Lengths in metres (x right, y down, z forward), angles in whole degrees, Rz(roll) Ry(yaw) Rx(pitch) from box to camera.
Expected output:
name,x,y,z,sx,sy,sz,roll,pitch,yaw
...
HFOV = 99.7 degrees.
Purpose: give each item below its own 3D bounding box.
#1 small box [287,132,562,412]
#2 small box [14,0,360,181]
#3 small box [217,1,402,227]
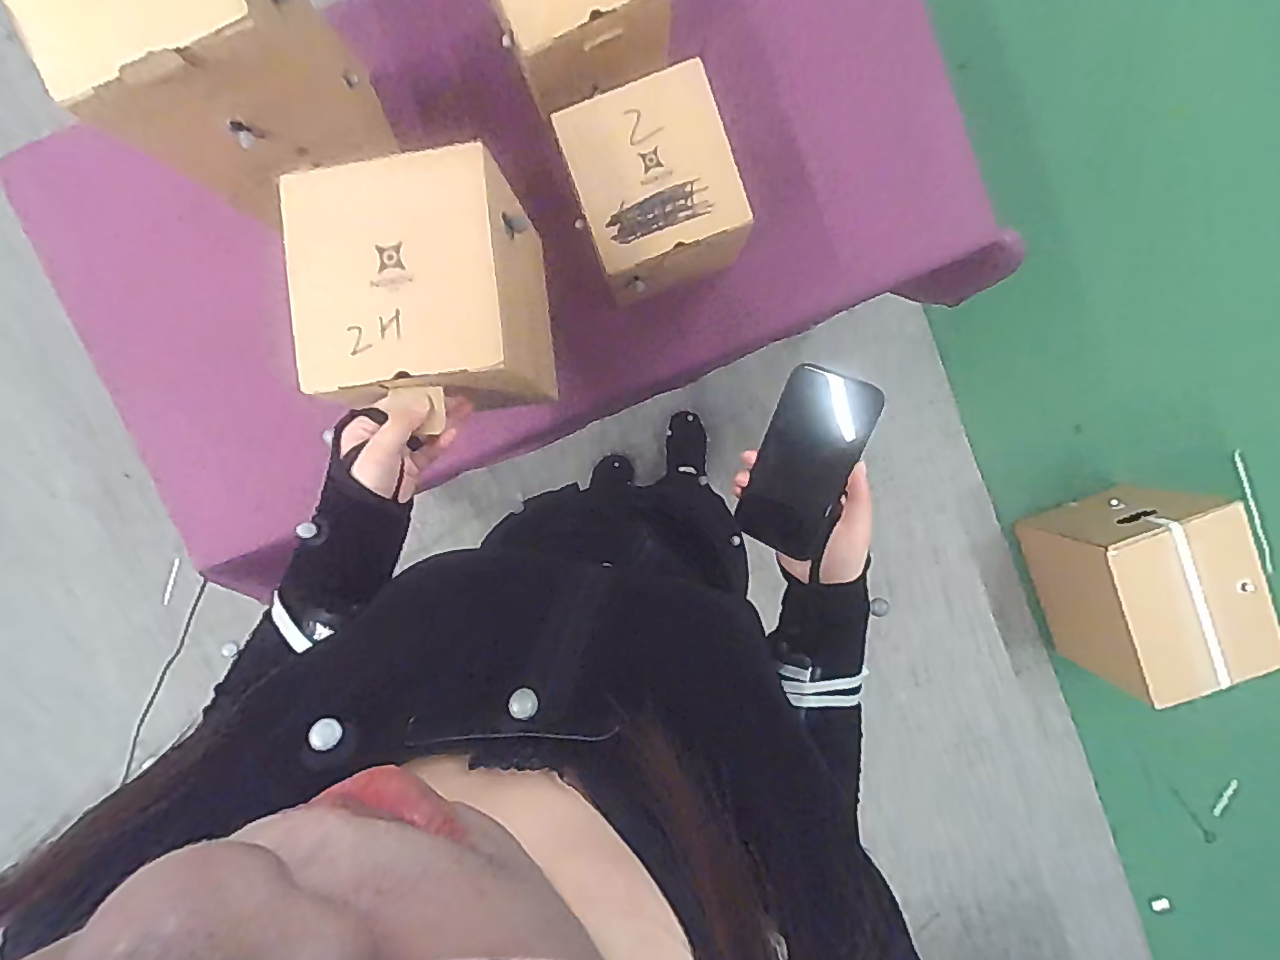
name,x,y,z,sx,sy,sz,roll,pitch,yaw
small box,-0.174,-0.165,0.486,0.168,0.176,0.179,-6,90,6
small box,-0.386,-0.396,0.474,0.168,0.176,0.179,-22,96,2
small box,-0.392,-0.414,0.638,0.168,0.176,0.179,-22,96,2
